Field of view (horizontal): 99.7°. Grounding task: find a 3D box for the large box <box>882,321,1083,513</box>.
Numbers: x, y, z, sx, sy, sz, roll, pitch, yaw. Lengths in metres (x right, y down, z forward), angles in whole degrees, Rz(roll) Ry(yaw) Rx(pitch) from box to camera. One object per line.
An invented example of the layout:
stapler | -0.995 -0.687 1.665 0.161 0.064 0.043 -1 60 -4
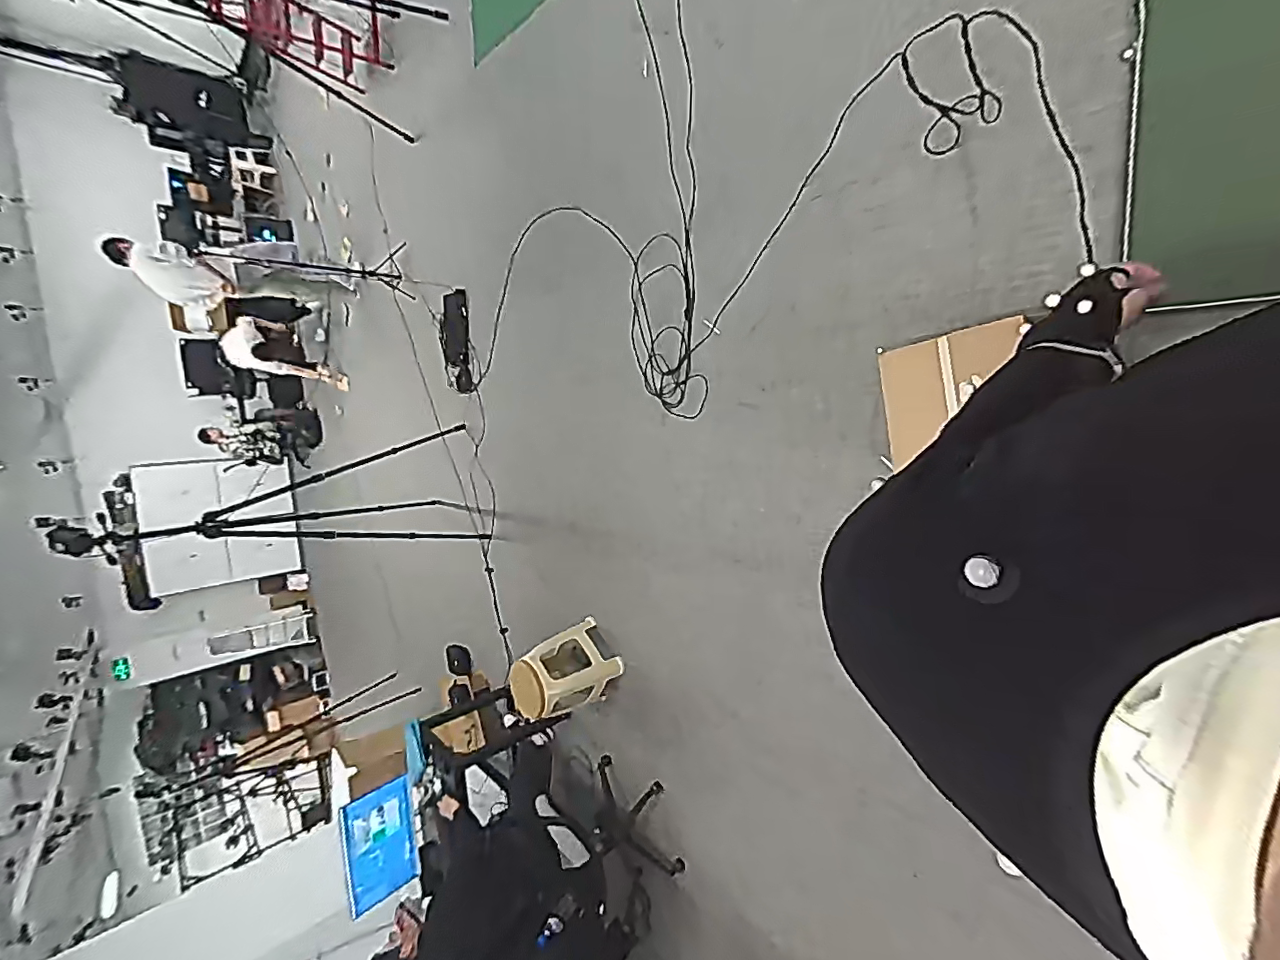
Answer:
large box | 0.851 -0.141 1.348 0.320 0.320 0.408 -8 89 49
